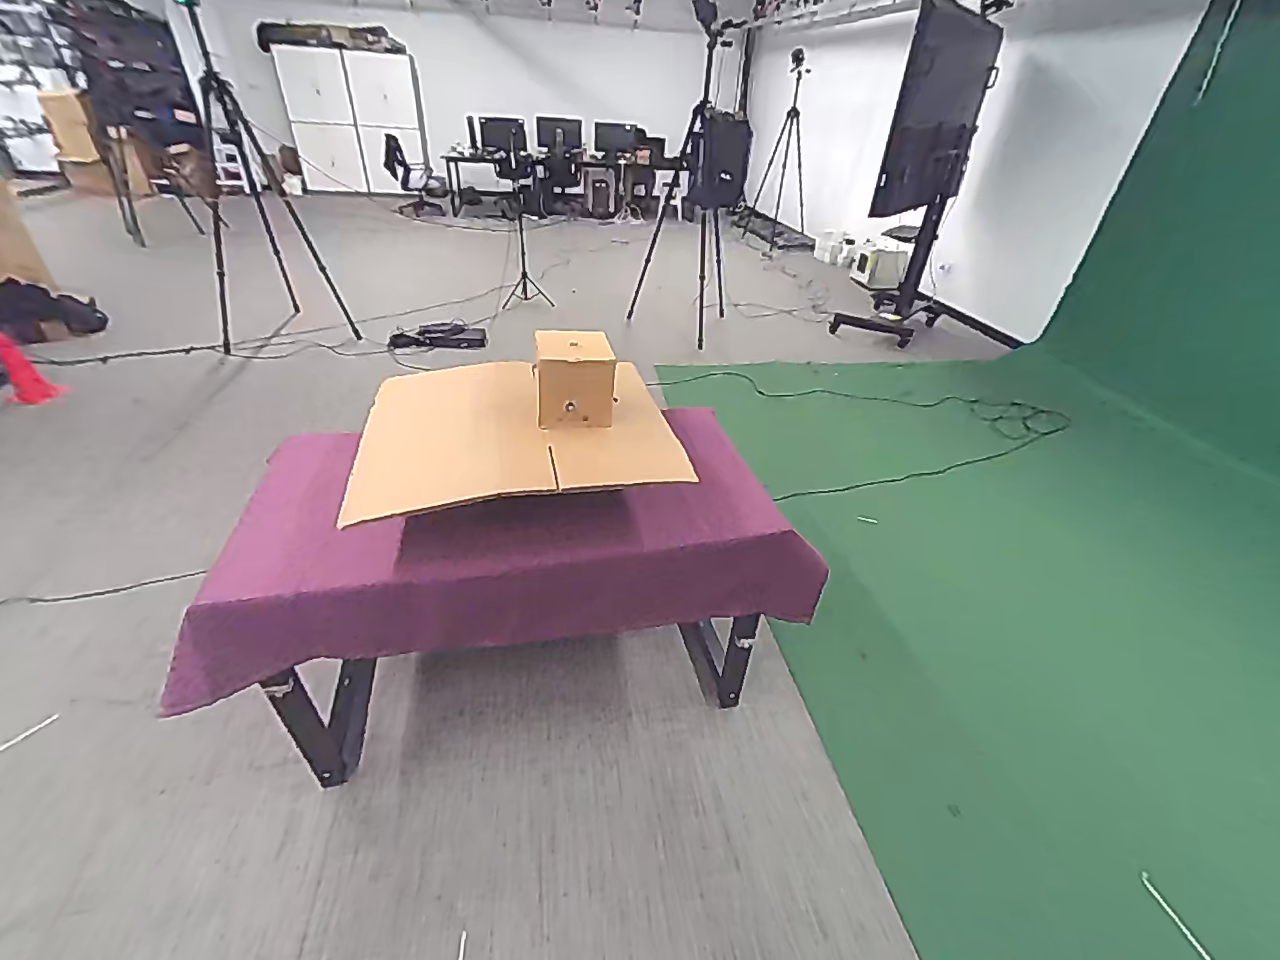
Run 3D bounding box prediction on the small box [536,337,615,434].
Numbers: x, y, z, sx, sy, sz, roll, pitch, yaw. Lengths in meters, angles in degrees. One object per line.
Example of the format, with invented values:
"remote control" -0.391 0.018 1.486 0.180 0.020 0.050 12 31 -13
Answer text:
"small box" -0.157 -0.222 1.266 0.168 0.176 0.179 -3 36 -13
